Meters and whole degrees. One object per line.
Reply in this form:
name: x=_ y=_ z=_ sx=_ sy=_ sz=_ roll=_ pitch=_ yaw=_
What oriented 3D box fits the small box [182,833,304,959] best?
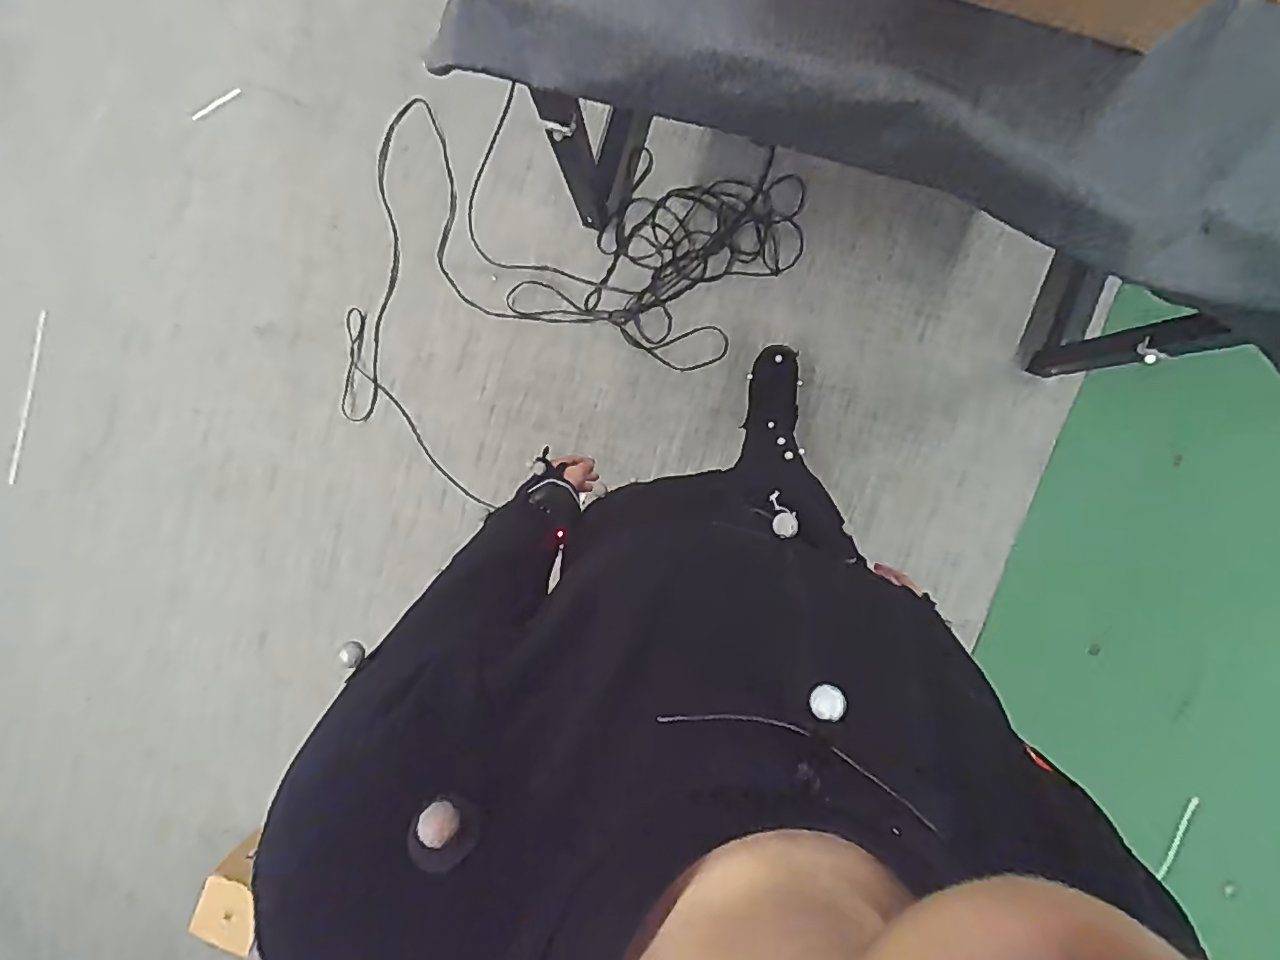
small box: x=-1.011 y=1.063 z=1.393 sx=0.168 sy=0.176 sz=0.179 roll=23 pitch=96 yaw=2
